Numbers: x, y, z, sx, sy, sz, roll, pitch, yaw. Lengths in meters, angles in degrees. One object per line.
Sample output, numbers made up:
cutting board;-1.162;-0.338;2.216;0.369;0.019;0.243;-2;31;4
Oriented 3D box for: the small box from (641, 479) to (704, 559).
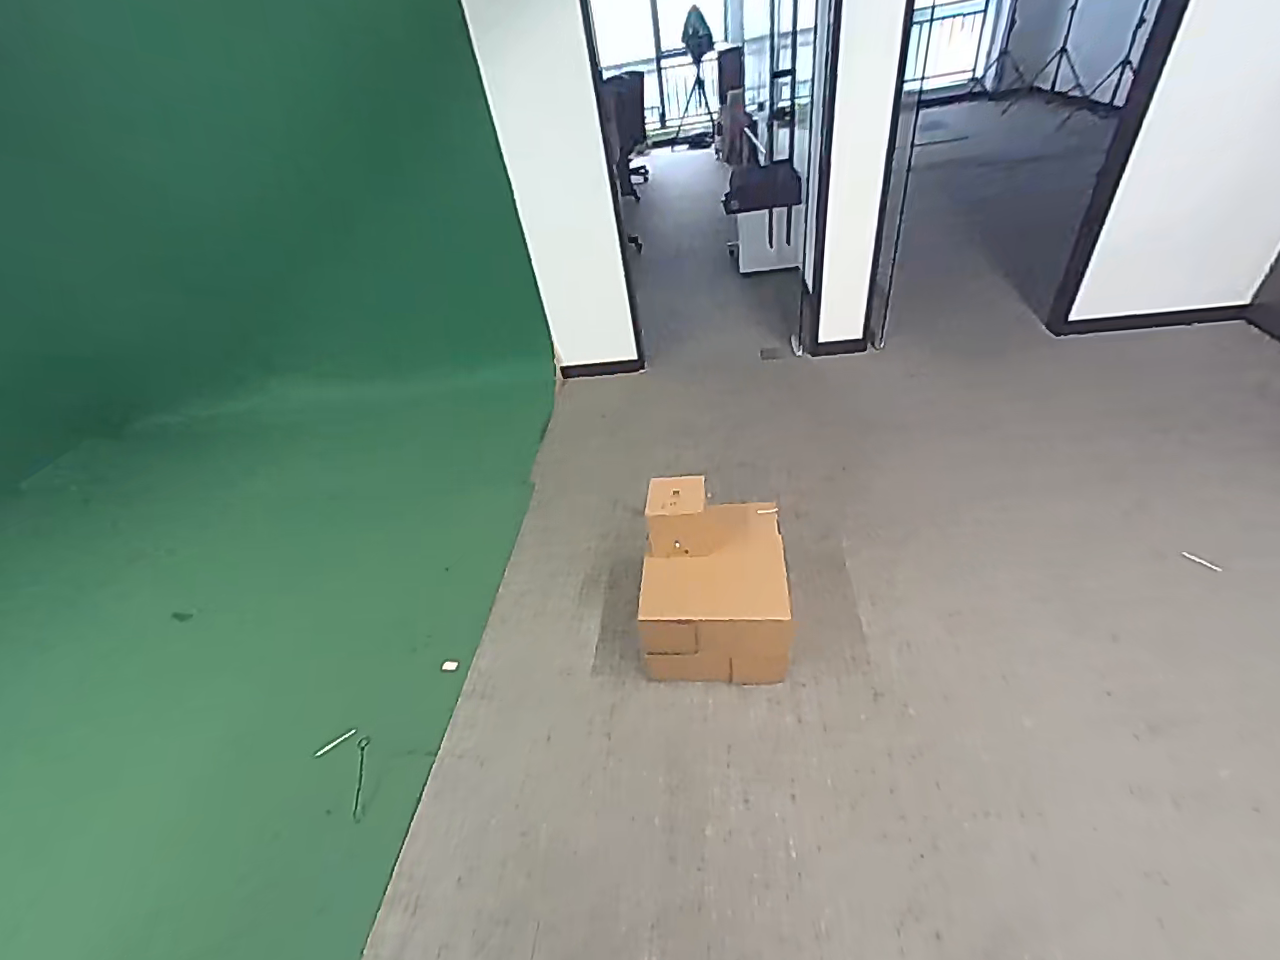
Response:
small box;0.102;0.116;1.615;0.168;0.176;0.179;-4;37;10
